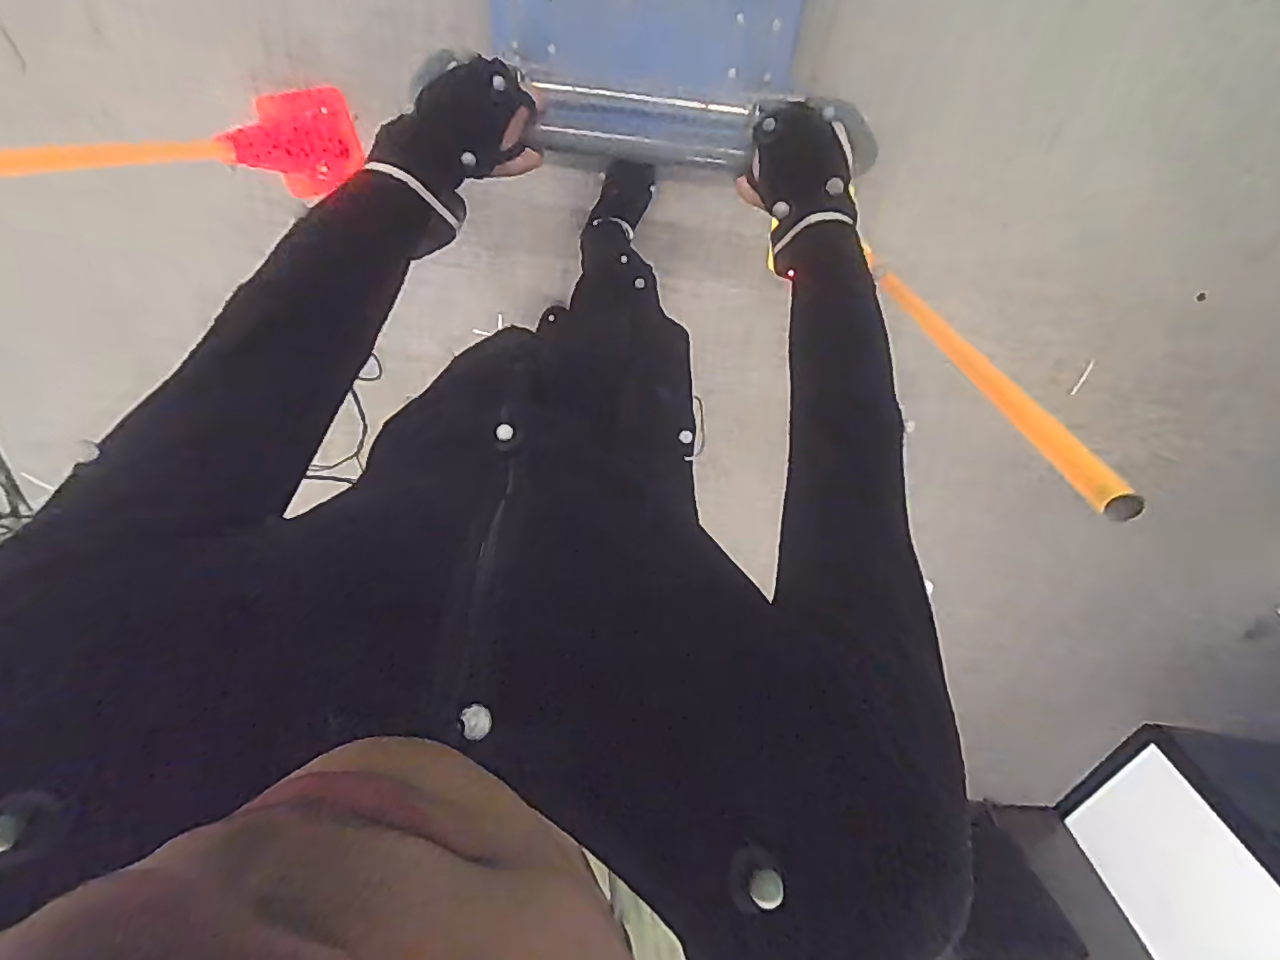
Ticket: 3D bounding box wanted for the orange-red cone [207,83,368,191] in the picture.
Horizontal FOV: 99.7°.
[{"bbox_3d":[-0.731,-0.674,1.075,0.199,0.360,0.198,-5,123,2],"label":"orange-red cone"}]
